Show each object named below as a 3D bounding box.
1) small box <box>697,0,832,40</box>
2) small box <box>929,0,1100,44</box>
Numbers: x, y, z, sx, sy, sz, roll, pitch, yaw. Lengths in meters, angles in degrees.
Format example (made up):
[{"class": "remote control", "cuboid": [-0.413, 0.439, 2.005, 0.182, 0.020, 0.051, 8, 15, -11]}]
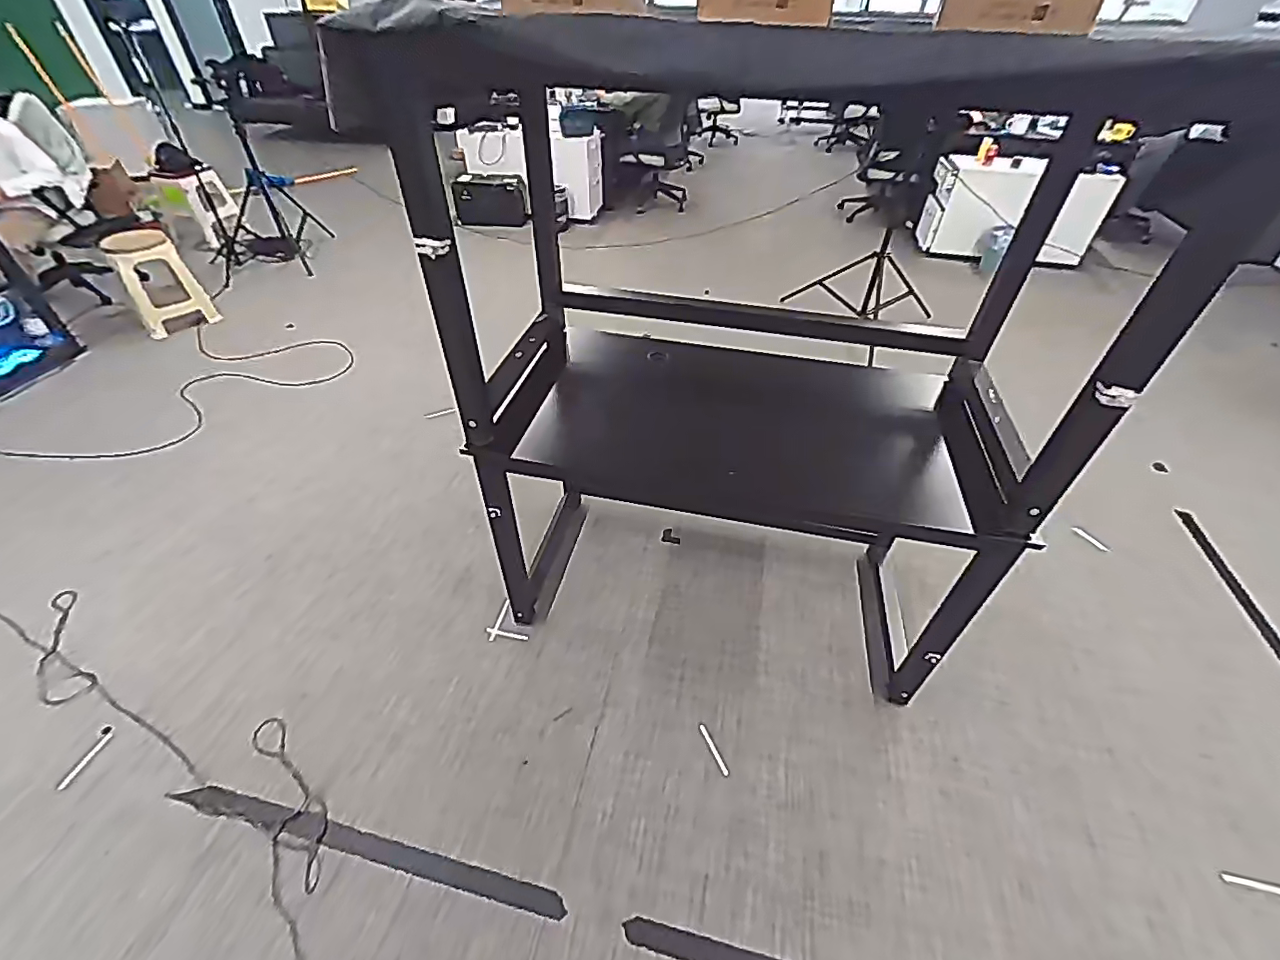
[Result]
[{"class": "small box", "cuboid": [0.168, -0.671, 0.682, 0.168, 0.176, 0.179, 9, 42, 8]}, {"class": "small box", "cuboid": [0.460, -0.629, 0.640, 0.168, 0.176, 0.179, 15, 43, 14]}]
